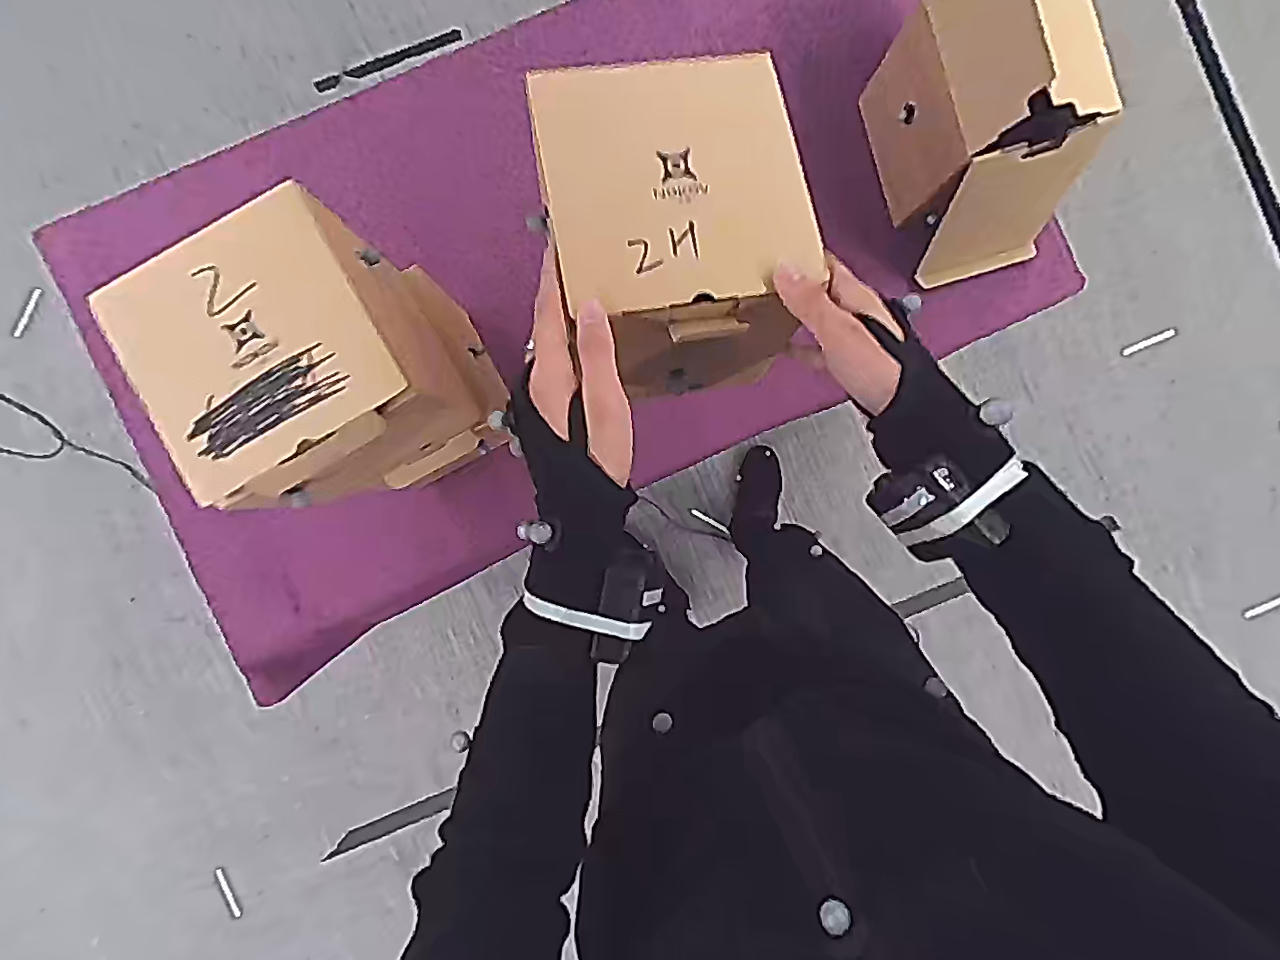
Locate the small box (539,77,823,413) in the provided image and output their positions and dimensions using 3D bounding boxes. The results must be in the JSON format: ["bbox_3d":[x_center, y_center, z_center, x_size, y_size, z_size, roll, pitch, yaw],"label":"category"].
[{"bbox_3d":[0.017,-0.170,0.429,0.168,0.176,0.179,-9,79,-6],"label":"small box"}]

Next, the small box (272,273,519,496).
[{"bbox_3d":[-0.259,-0.099,0.623,0.168,0.176,0.179,-28,91,-1],"label":"small box"}]
